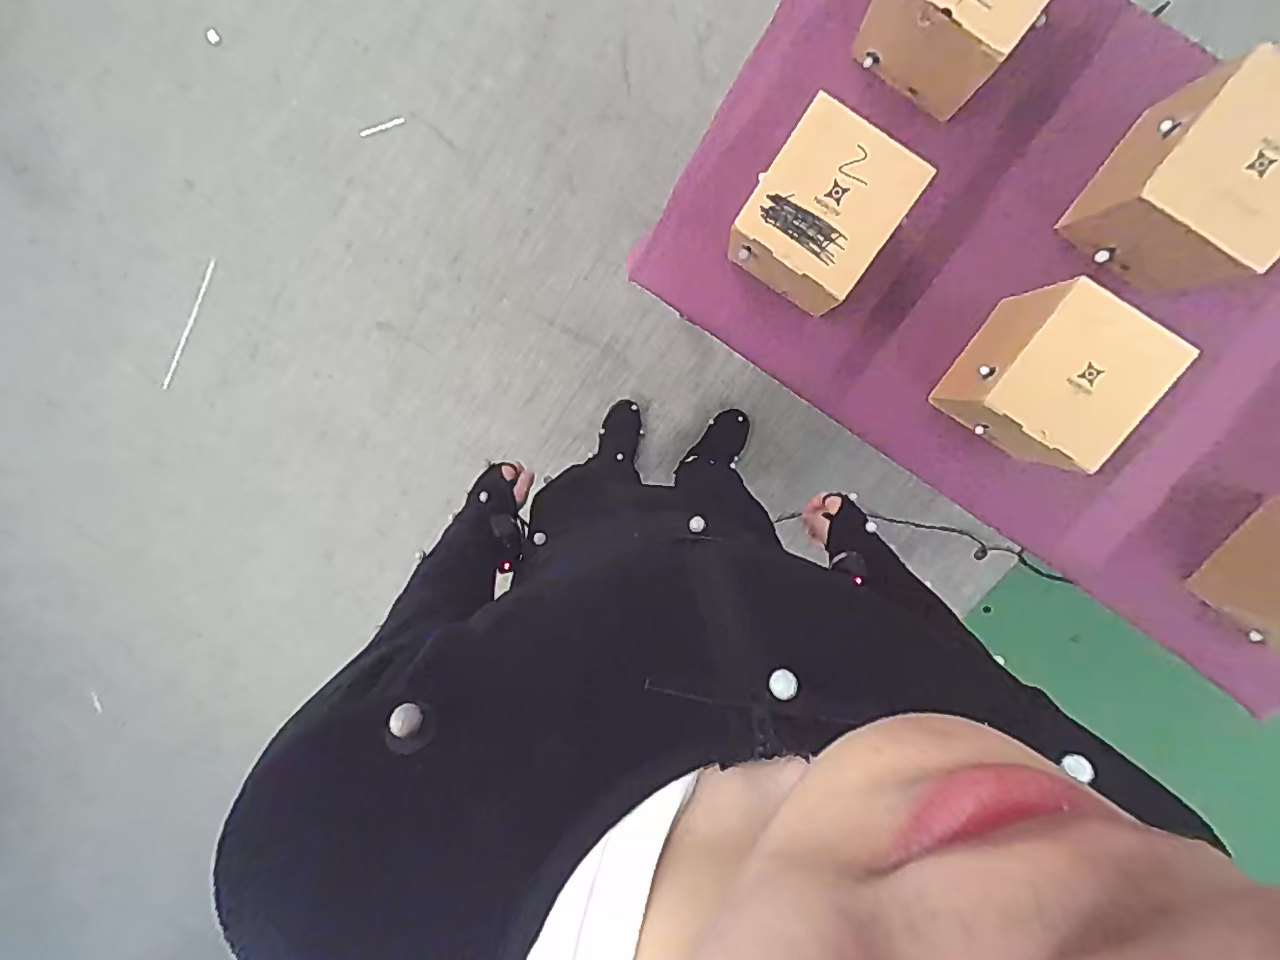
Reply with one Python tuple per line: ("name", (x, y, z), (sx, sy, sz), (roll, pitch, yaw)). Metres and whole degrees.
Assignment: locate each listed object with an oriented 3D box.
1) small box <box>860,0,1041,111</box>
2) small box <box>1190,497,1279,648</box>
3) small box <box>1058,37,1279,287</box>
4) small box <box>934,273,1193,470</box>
("small box", (0.389, -0.594, 0.644), (0.168, 0.176, 0.179), (36, 104, -1))
("small box", (0.919, 0.143, 0.719), (0.168, 0.176, 0.179), (35, 102, 1))
("small box", (0.674, -0.363, 0.658), (0.168, 0.176, 0.179), (34, 104, 0))
("small box", (0.536, -0.141, 0.719), (0.168, 0.176, 0.179), (33, 103, 0))
